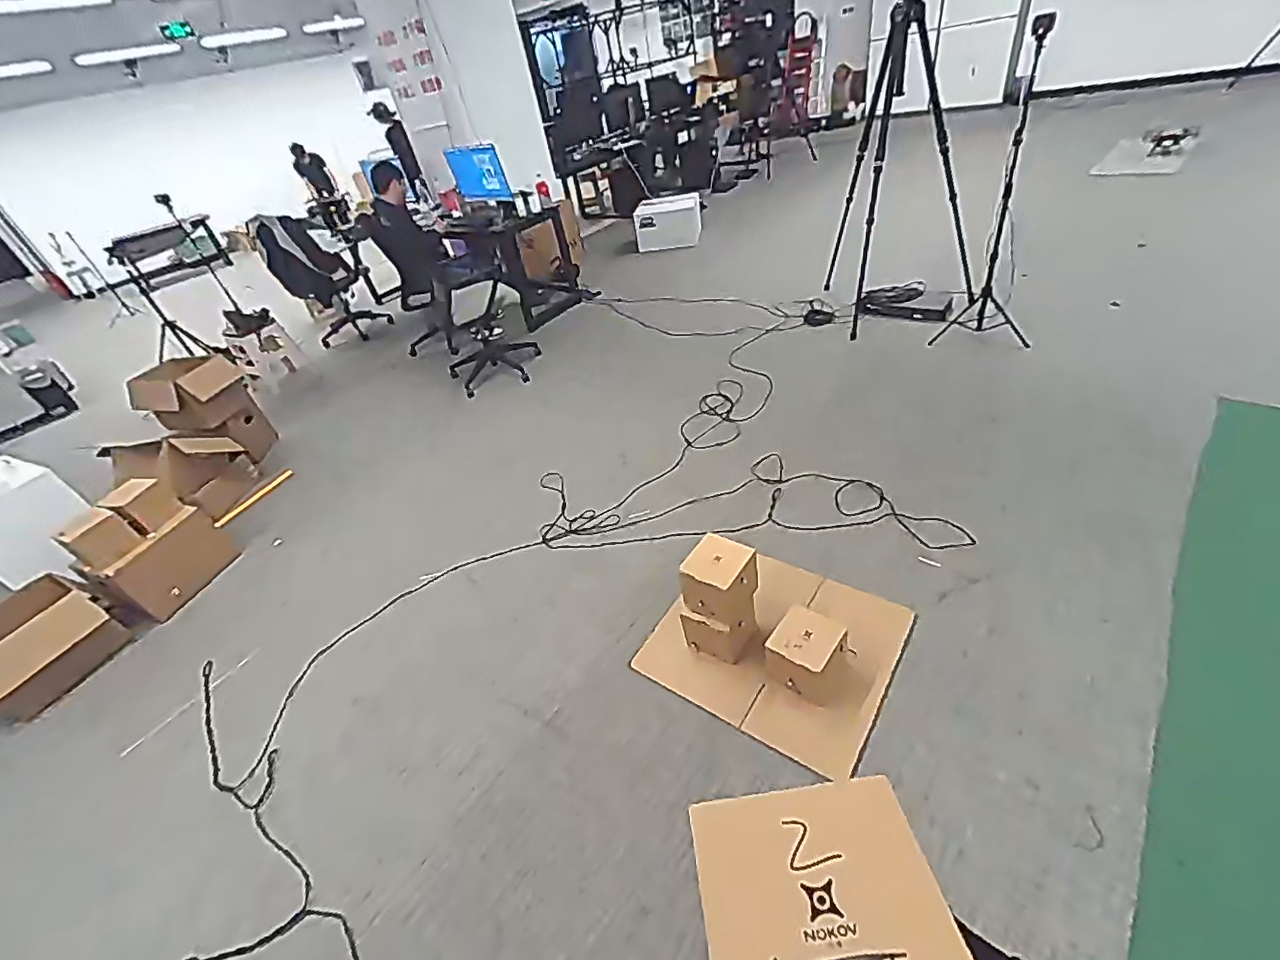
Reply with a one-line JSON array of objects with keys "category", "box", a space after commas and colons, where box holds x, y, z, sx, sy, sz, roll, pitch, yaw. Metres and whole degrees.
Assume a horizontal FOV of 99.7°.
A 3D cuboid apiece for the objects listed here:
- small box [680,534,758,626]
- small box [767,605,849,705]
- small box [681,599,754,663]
[{"category": "small box", "box": [0.240, 0.298, 1.613, 0.168, 0.176, 0.179, 18, 47, 34]}, {"category": "small box", "box": [0.481, 0.501, 1.553, 0.168, 0.176, 0.179, 21, 50, 38]}, {"category": "small box", "box": [0.251, 0.439, 1.699, 0.168, 0.176, 0.179, 16, 46, 33]}]
